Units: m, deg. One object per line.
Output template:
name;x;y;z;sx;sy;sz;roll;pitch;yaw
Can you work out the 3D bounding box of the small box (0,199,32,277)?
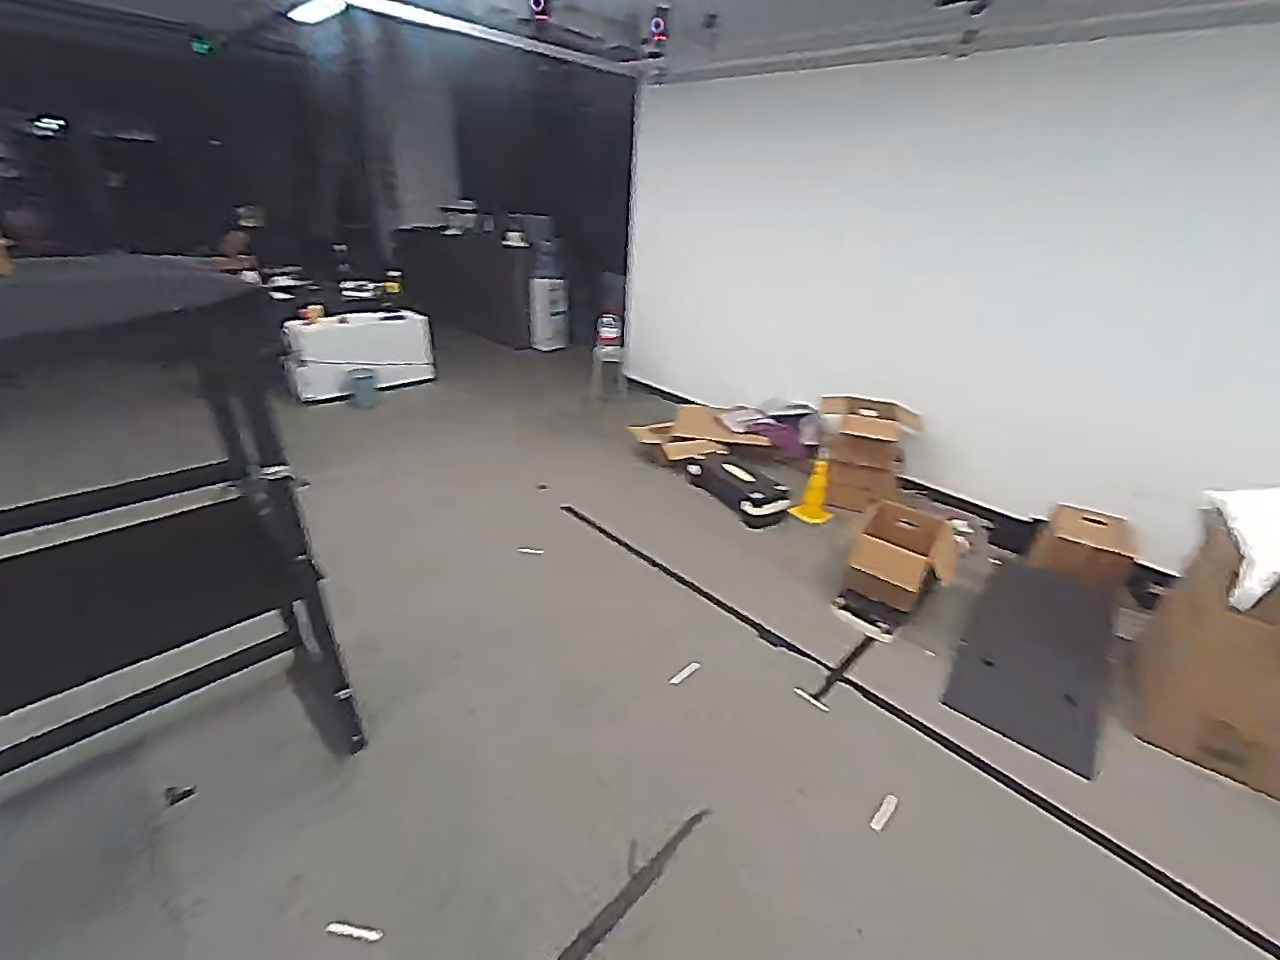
small box;-1.429;-0.516;1.123;0.179;0.176;0.168;-22;38;-39
